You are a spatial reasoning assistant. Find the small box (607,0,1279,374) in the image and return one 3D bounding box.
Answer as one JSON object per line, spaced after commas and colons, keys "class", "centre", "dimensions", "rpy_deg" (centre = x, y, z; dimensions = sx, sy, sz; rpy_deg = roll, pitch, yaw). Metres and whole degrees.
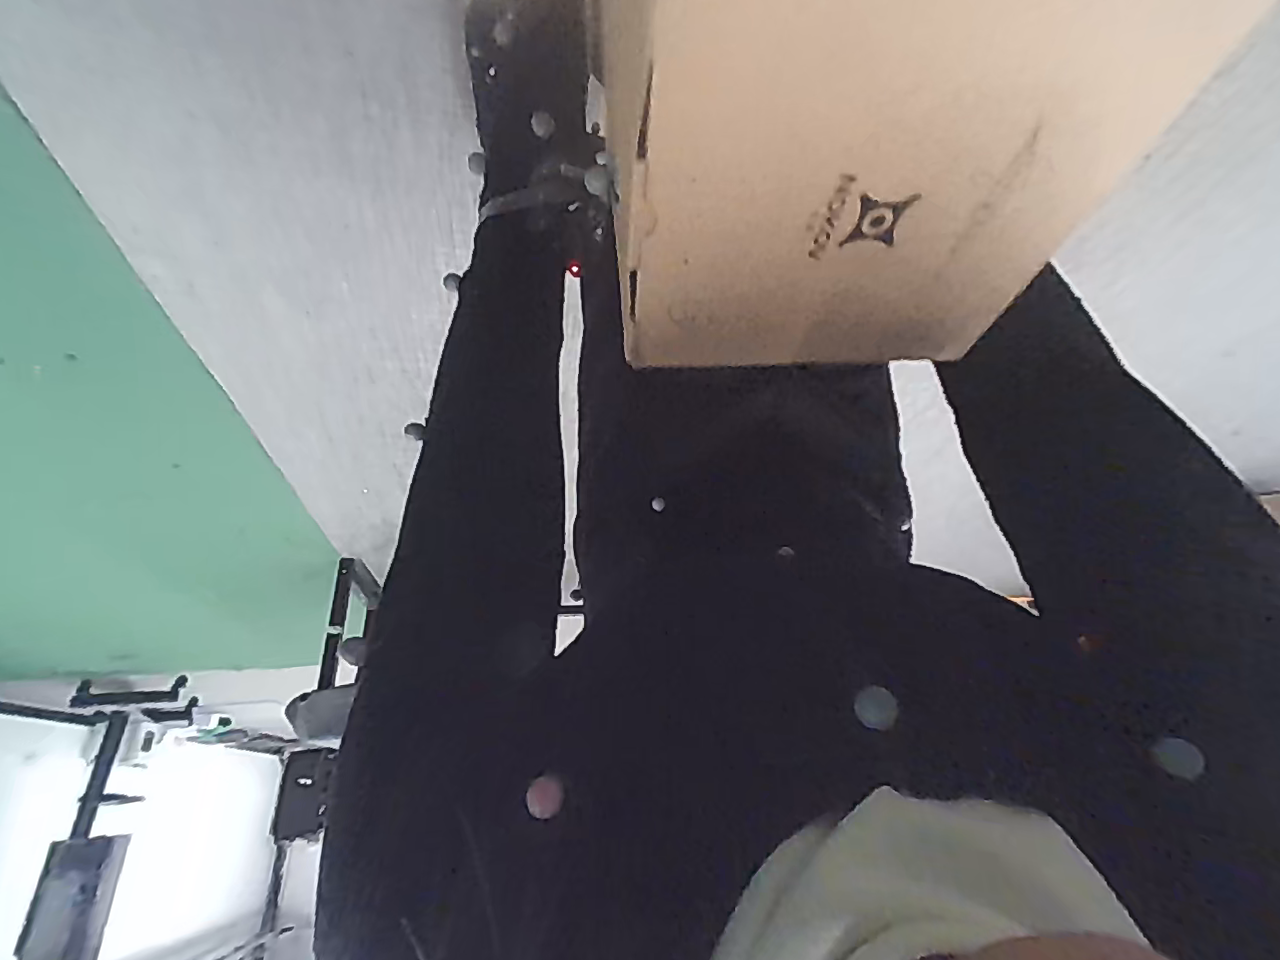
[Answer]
{"class": "small box", "centre": [0.076, -0.165, 0.235], "dimensions": [0.179, 0.176, 0.168], "rpy_deg": [-3, 154, -5]}
